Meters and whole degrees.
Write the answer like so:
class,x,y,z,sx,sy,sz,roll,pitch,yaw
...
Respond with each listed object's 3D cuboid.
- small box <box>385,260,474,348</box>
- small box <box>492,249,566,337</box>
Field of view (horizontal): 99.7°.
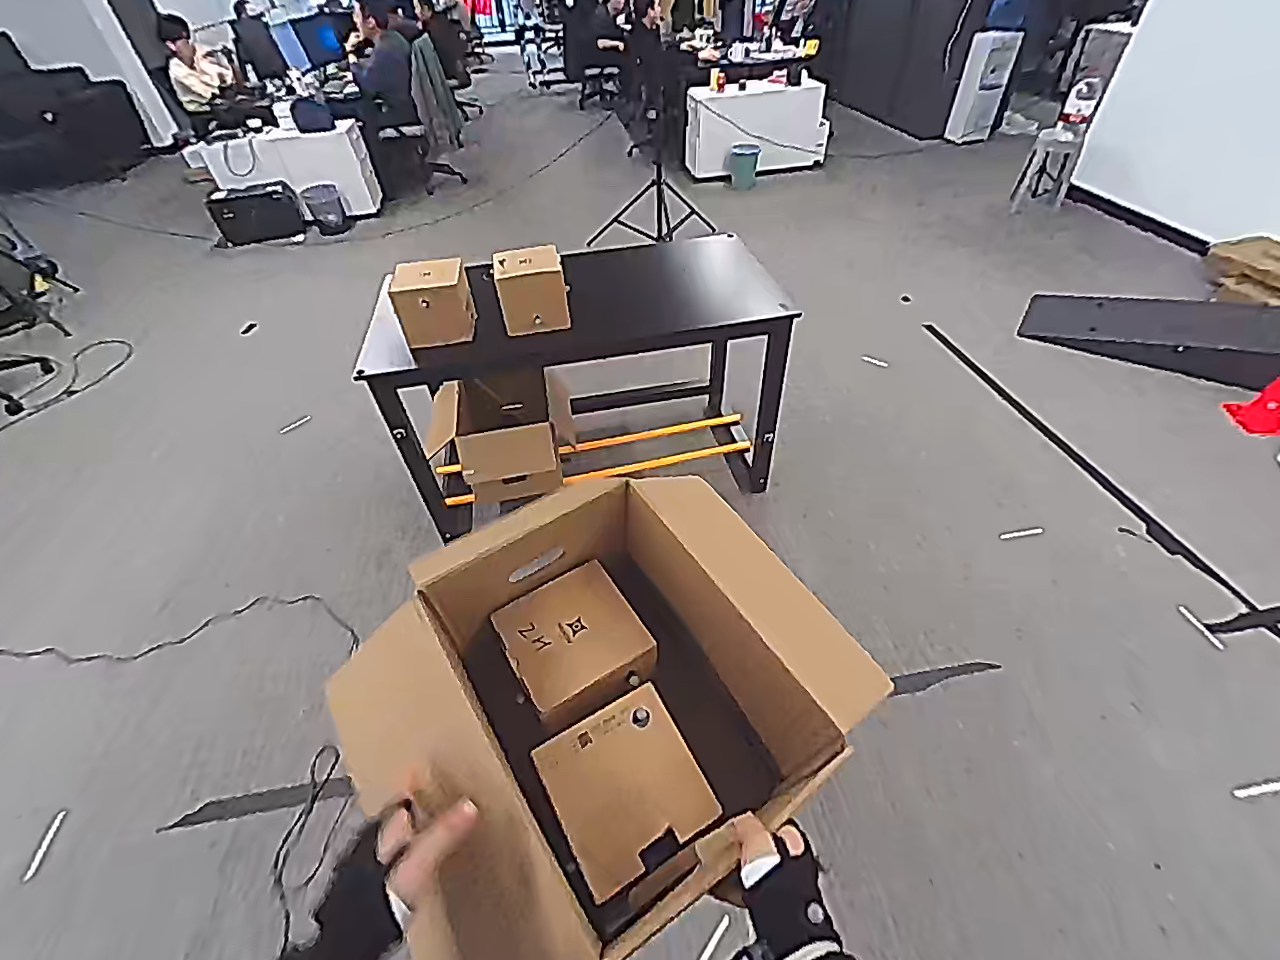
class,x,y,z,sx,sy,sz,roll,pitch,yaw
small box,-0.561,-0.472,1.464,0.179,0.176,0.168,-8,46,-6
small box,-0.302,-0.514,1.489,0.179,0.176,0.168,-10,45,-7
